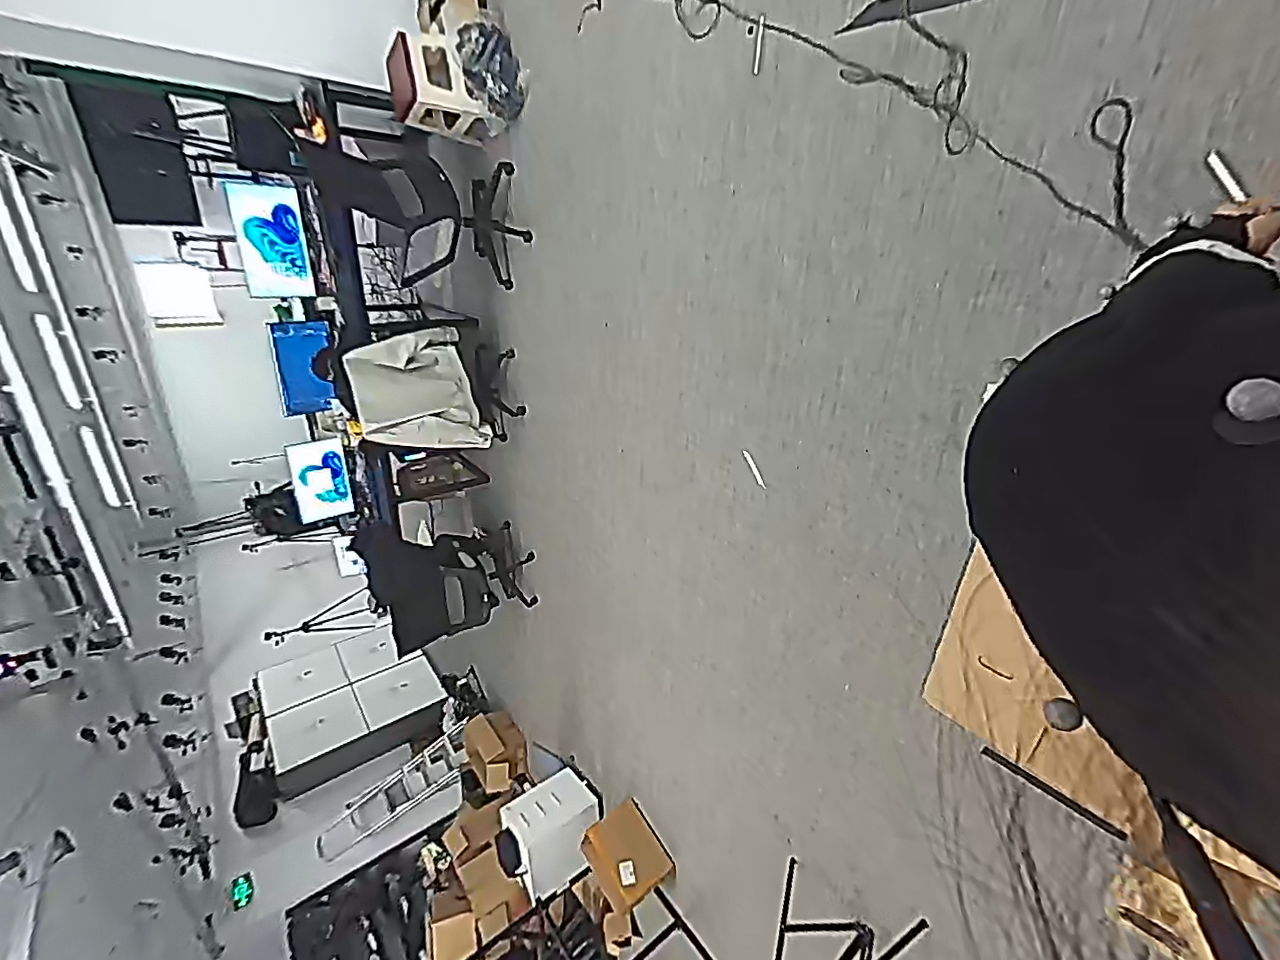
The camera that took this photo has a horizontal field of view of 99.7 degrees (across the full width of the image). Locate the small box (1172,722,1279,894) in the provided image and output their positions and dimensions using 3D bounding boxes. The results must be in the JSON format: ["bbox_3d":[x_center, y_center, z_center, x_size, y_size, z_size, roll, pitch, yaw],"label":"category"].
[{"bbox_3d":[1.061,0.564,0.936,0.168,0.176,0.179,11,111,49],"label":"small box"}]

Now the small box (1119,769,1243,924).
[{"bbox_3d":[1.168,0.771,1.156,0.168,0.176,0.179,17,116,48],"label":"small box"}]
